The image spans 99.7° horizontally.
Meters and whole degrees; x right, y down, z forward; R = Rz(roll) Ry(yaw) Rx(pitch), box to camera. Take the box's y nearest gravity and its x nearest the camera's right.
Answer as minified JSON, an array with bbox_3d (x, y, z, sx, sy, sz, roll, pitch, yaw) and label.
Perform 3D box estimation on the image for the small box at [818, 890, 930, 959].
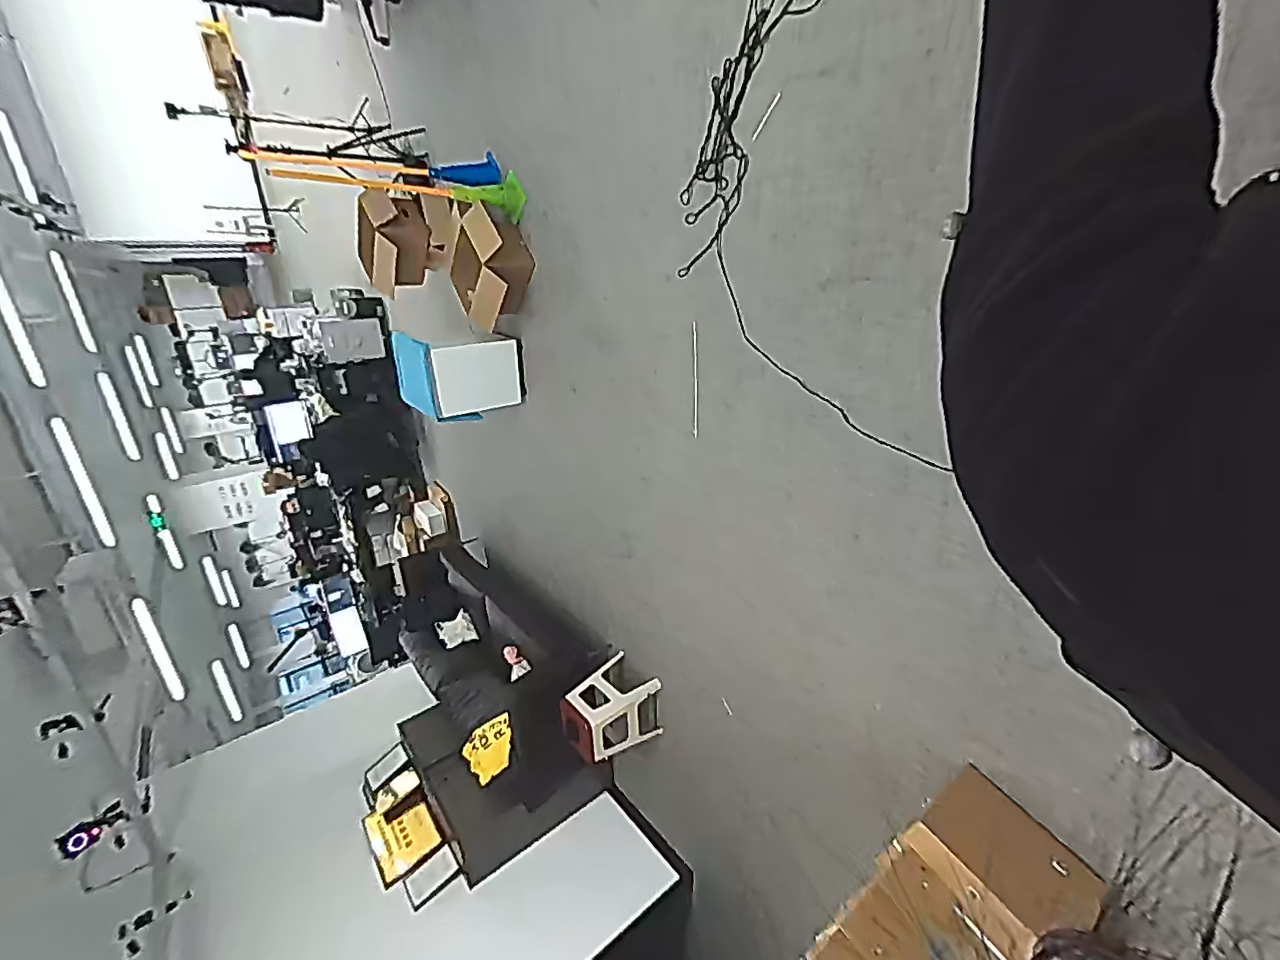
[{"bbox_3d":[0.613,1.227,1.420,0.179,0.176,0.168,44,138,34],"label":"small box"}]

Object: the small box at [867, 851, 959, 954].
[{"bbox_3d":[0.746,1.189,1.505,0.168,0.176,0.179,43,137,35],"label":"small box"}]
